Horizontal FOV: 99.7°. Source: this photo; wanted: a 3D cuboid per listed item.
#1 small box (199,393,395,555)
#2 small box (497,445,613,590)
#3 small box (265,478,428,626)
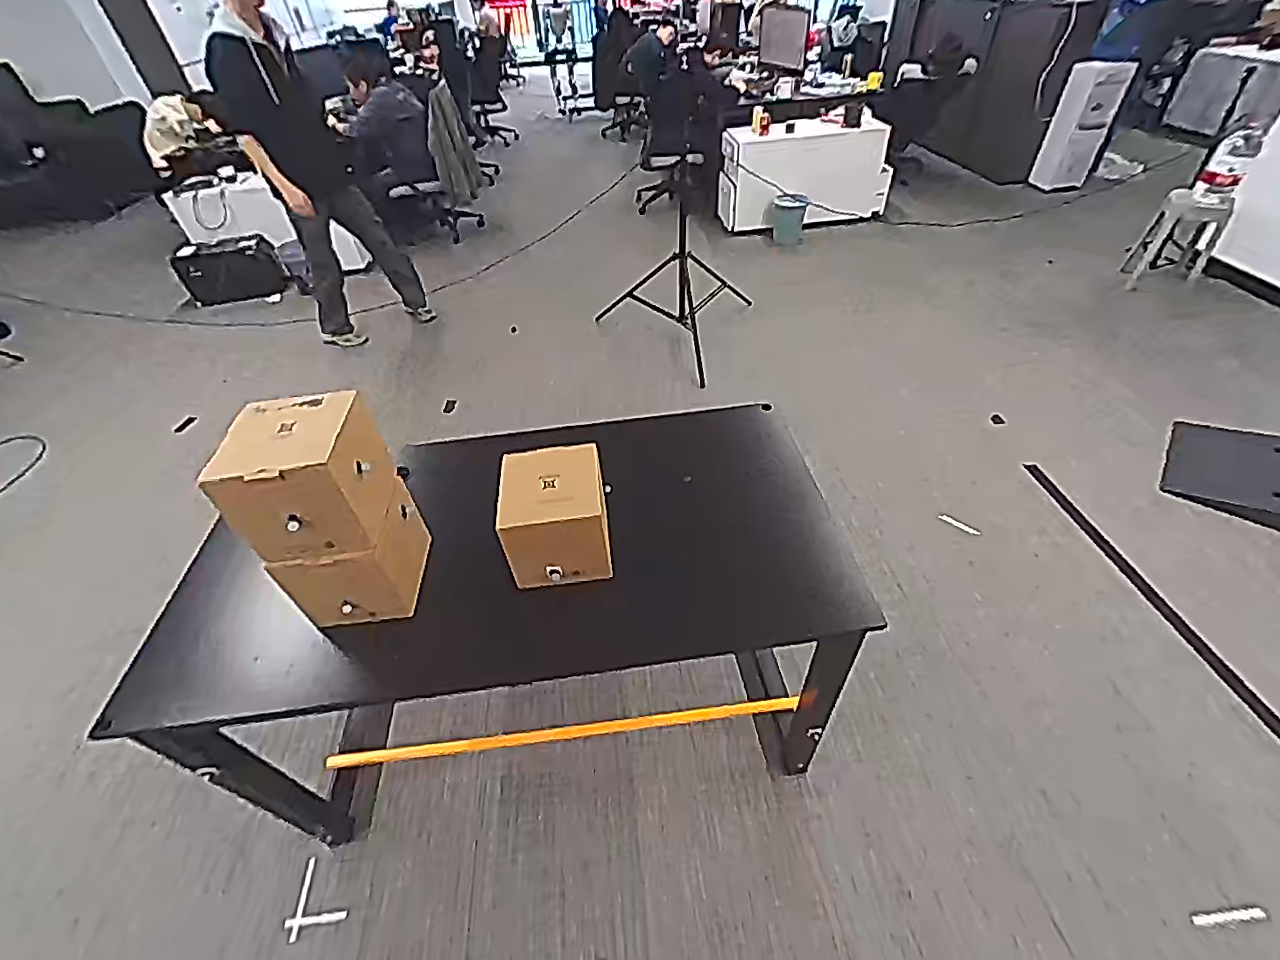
[{"bbox_3d":[-0.486,-0.003,0.803,0.168,0.176,0.179,-8,44,-4],"label":"small box"},{"bbox_3d":[-0.143,0.066,0.944,0.168,0.176,0.179,-8,45,-2],"label":"small box"},{"bbox_3d":[-0.474,0.121,0.910,0.168,0.176,0.179,-6,44,-1],"label":"small box"}]
